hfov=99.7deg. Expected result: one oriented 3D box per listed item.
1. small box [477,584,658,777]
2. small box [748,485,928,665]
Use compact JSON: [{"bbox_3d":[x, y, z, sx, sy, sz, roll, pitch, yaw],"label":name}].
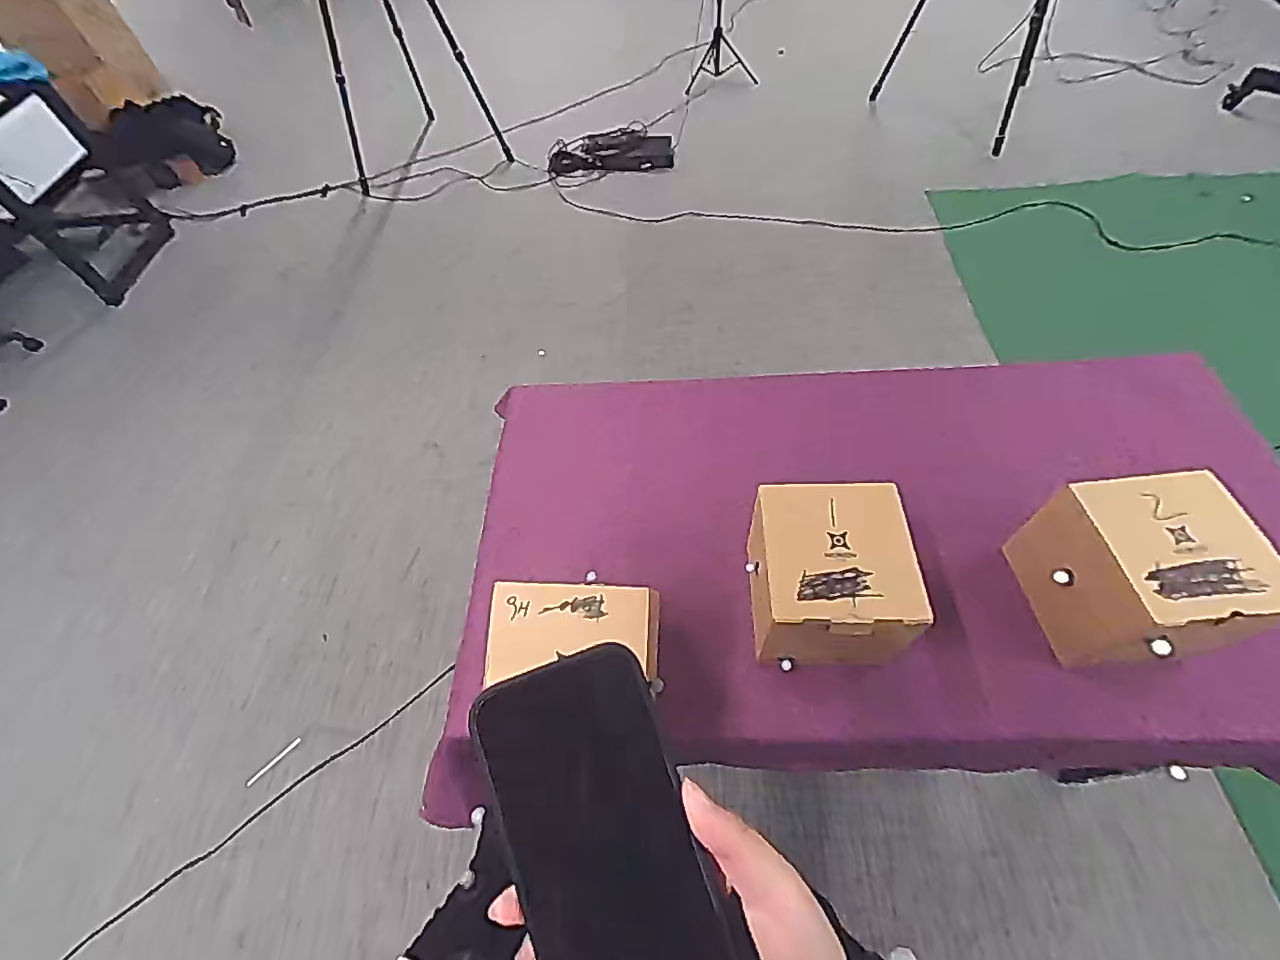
[{"bbox_3d":[-0.068,0.212,0.617,0.168,0.176,0.179,1,77,6],"label":"small box"},{"bbox_3d":[0.229,0.124,0.678,0.168,0.176,0.179,-1,55,5],"label":"small box"}]
